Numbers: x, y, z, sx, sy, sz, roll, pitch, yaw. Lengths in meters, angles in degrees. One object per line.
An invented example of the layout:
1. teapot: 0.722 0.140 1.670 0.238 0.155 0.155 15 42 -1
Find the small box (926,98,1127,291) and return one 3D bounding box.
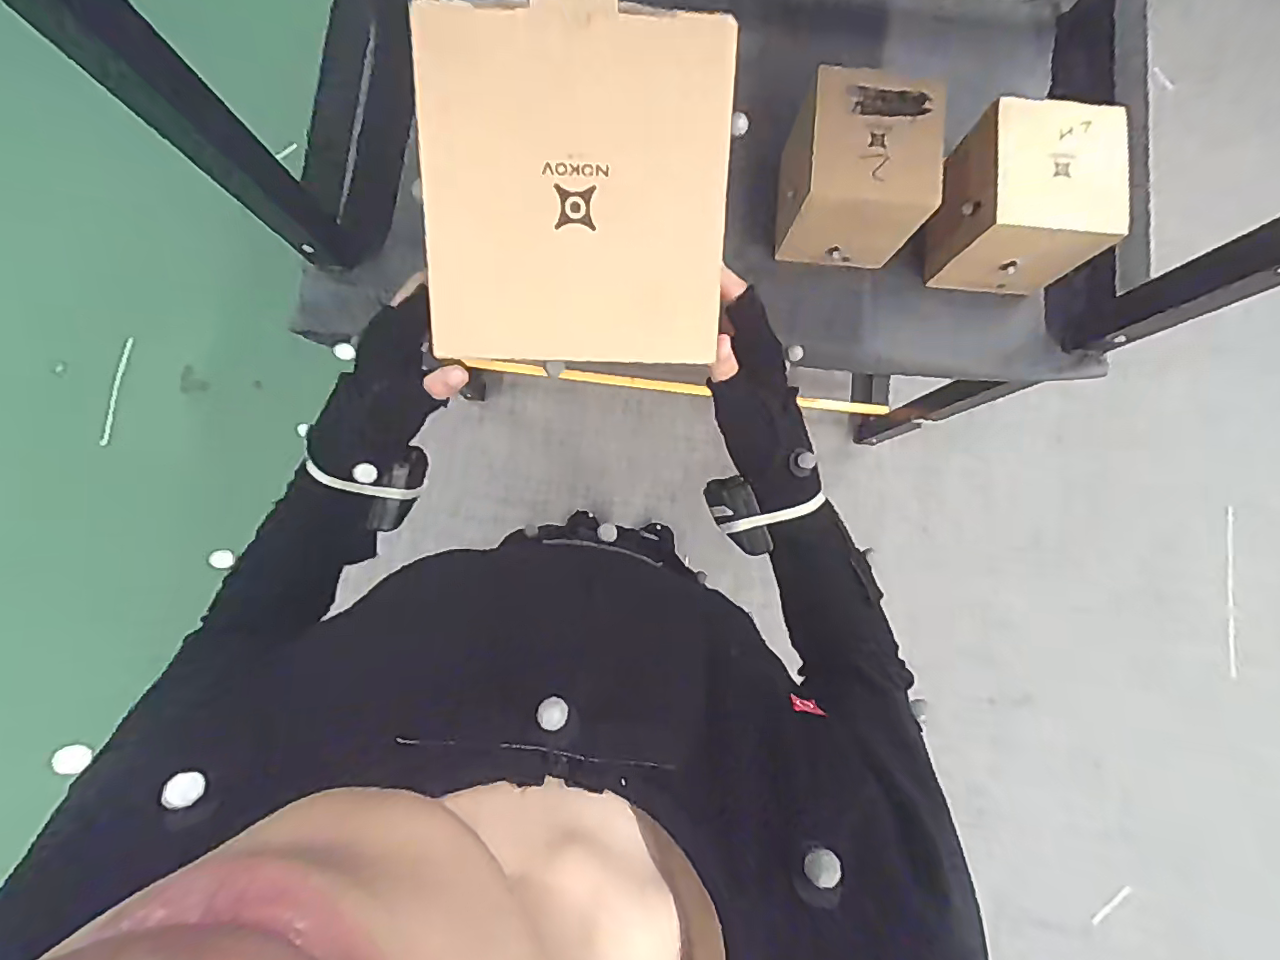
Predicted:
1. small box: 0.525 -0.385 0.756 0.168 0.176 0.179 4 83 -1
